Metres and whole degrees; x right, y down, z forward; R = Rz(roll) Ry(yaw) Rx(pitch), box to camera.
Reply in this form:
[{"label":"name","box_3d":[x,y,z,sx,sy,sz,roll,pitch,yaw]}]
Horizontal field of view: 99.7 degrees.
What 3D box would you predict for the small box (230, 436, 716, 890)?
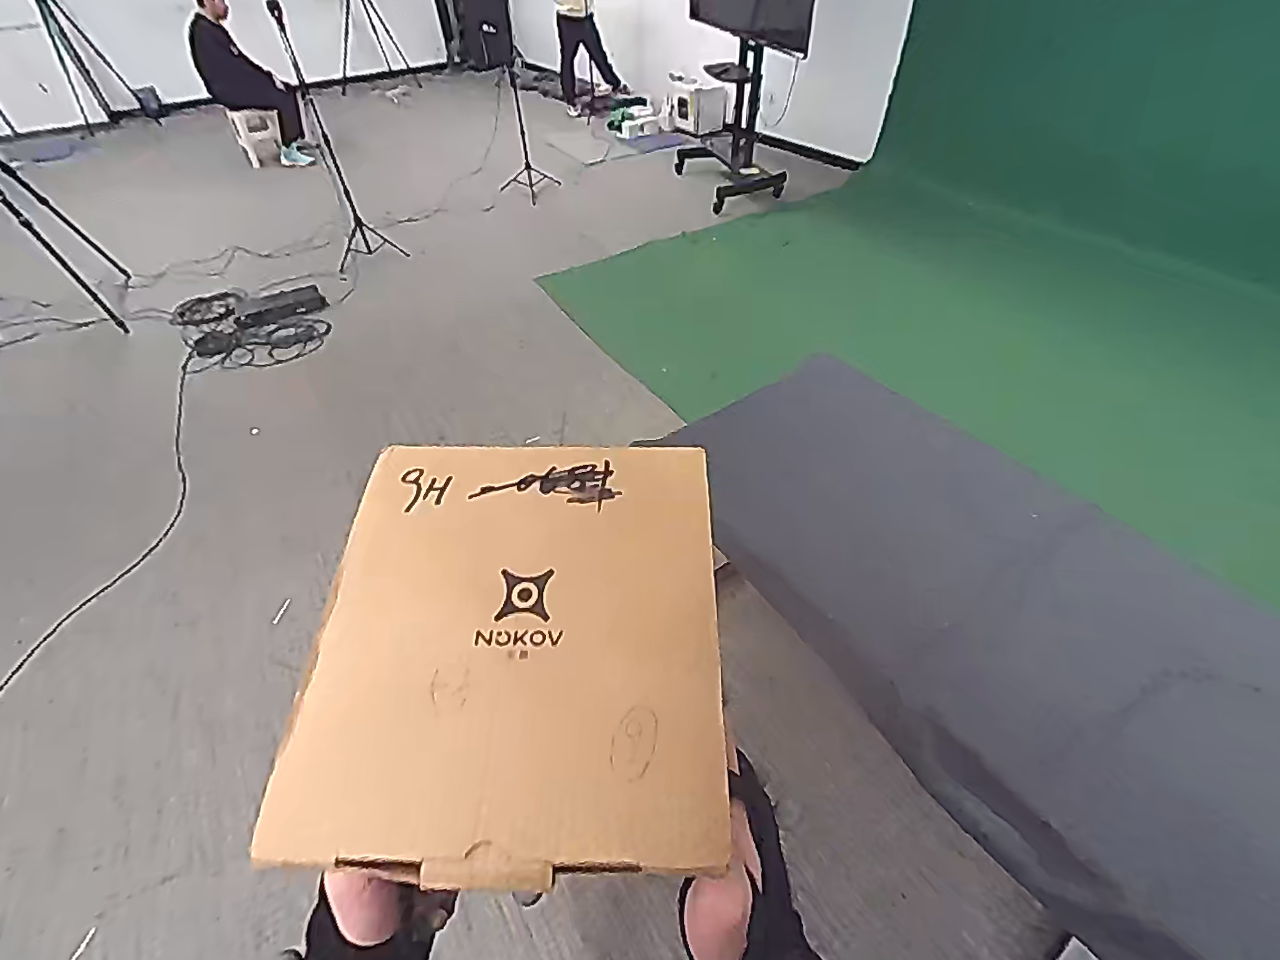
[{"label":"small box","box_3d":[-0.055,0.096,0.288,0.168,0.176,0.179,1,60,-2]}]
